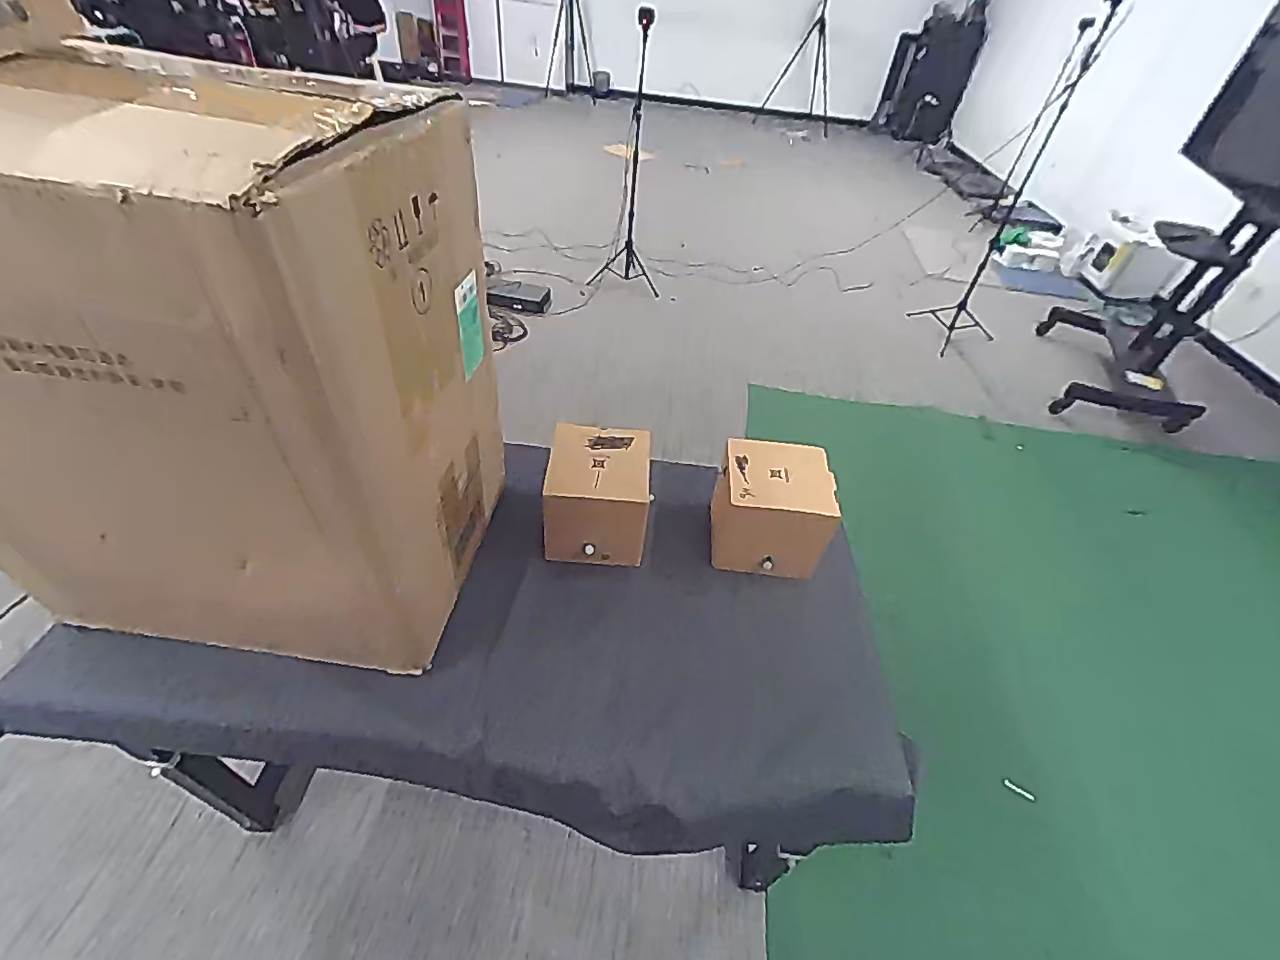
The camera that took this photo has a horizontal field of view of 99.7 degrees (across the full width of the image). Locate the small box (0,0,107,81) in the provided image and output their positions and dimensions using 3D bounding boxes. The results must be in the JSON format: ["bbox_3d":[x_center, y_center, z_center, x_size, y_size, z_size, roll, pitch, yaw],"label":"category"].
[{"bbox_3d":[-0.598,-0.428,0.416,0.179,0.176,0.168,5,49,-3],"label":"small box"}]

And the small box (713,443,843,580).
[{"bbox_3d":[0.233,0.059,0.958,0.179,0.176,0.168,7,43,0],"label":"small box"}]
